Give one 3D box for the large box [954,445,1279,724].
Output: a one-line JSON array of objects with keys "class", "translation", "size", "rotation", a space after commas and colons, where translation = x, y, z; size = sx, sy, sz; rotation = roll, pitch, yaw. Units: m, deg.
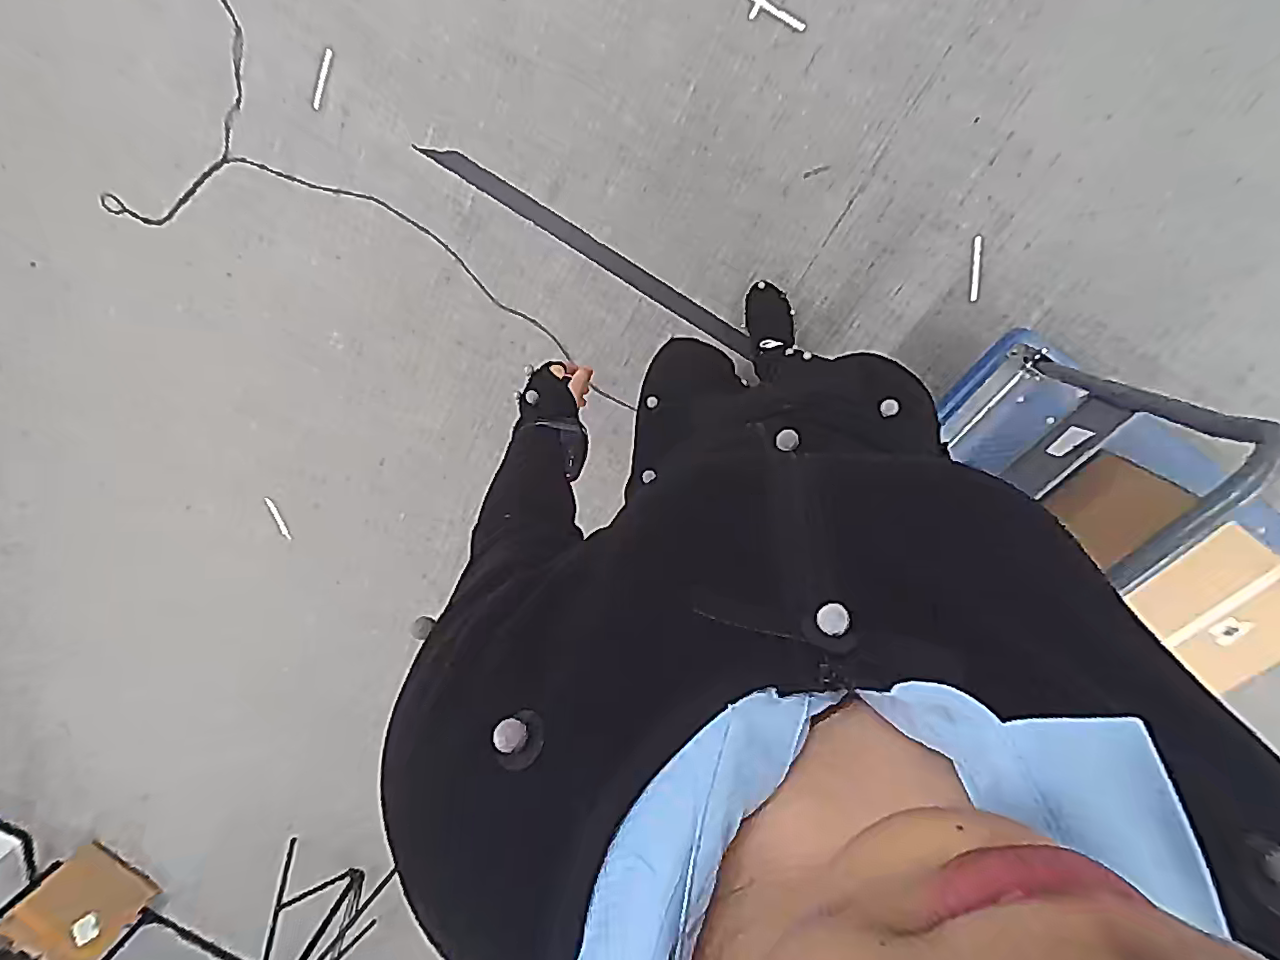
[{"class": "large box", "translation": [0.964, 0.201, 1.122], "size": [0.320, 0.320, 0.408], "rotation": [35, 112, -4]}]
